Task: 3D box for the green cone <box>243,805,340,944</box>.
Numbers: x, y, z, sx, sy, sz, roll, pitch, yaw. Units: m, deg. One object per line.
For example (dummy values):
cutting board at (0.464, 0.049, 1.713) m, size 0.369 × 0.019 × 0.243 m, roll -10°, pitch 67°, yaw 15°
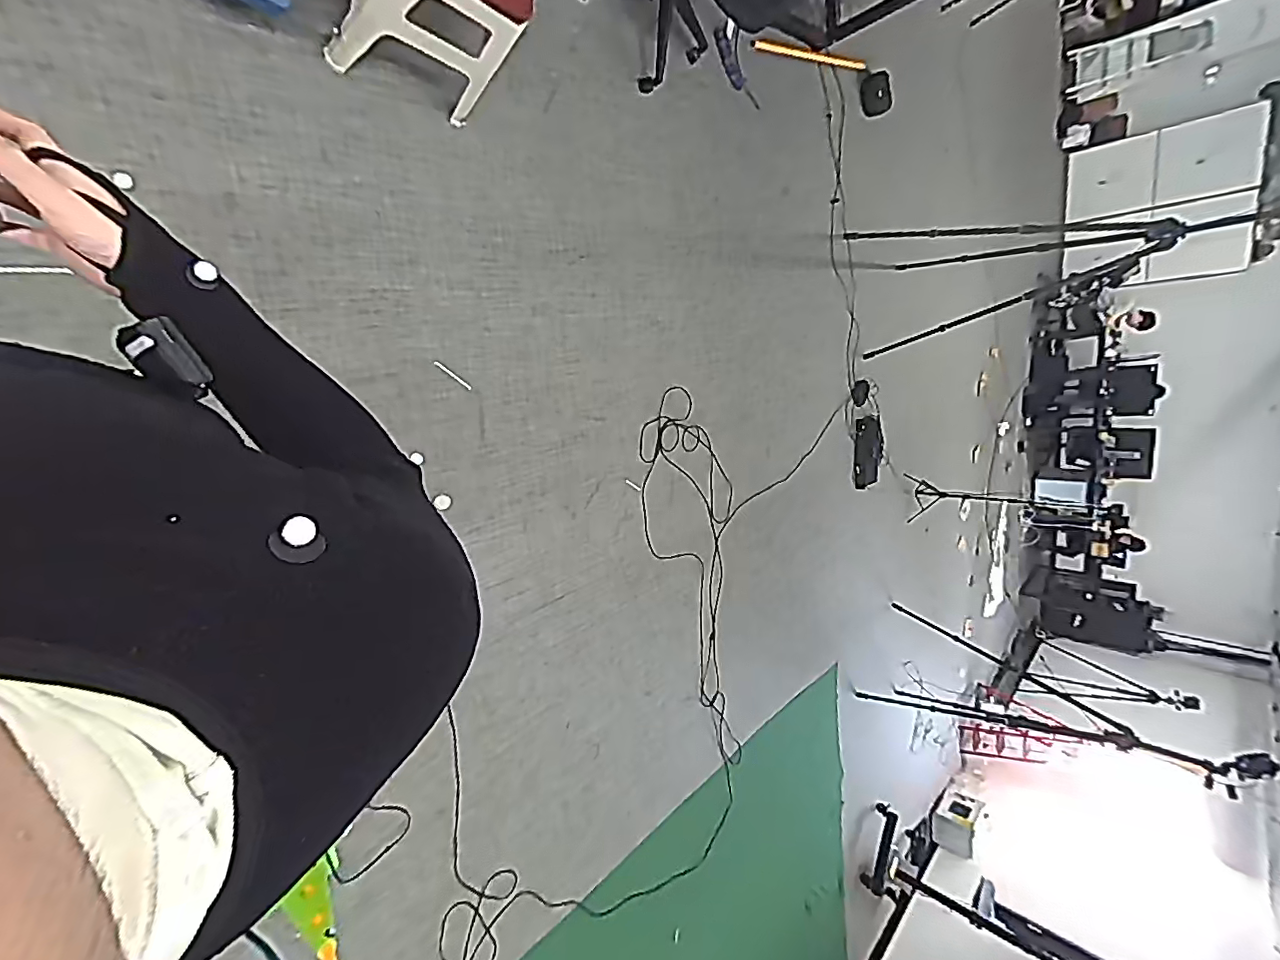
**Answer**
green cone at (-0.859, 1.065, 1.398) m, size 0.202 × 0.368 × 0.200 m, roll -18°, pitch 108°, yaw -43°
